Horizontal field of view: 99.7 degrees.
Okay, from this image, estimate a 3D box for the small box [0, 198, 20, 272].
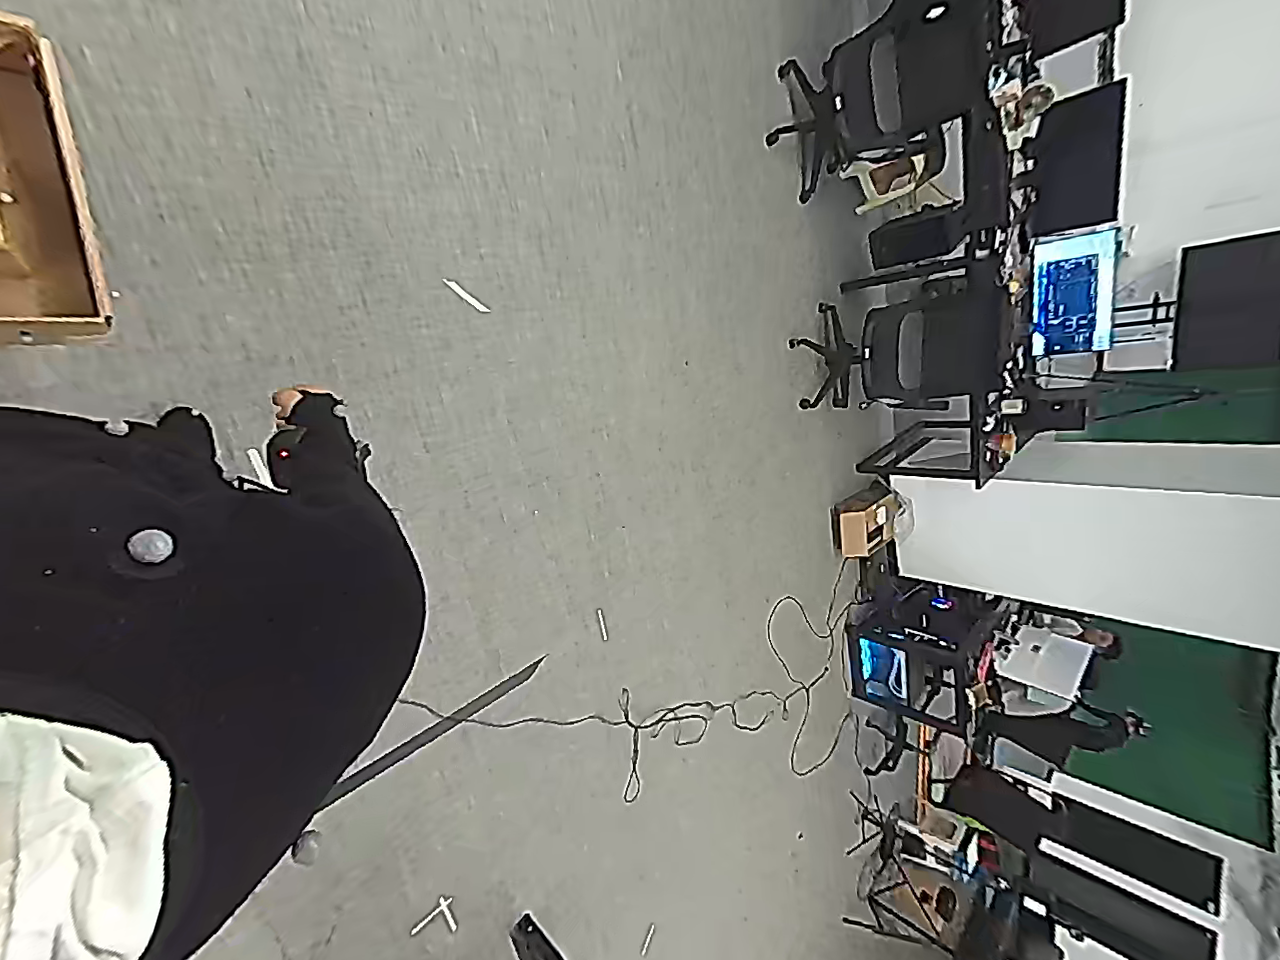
[{"bbox_3d":[-0.947,-0.372,0.690,0.168,0.176,0.179,-16,104,-40],"label":"small box"}]
